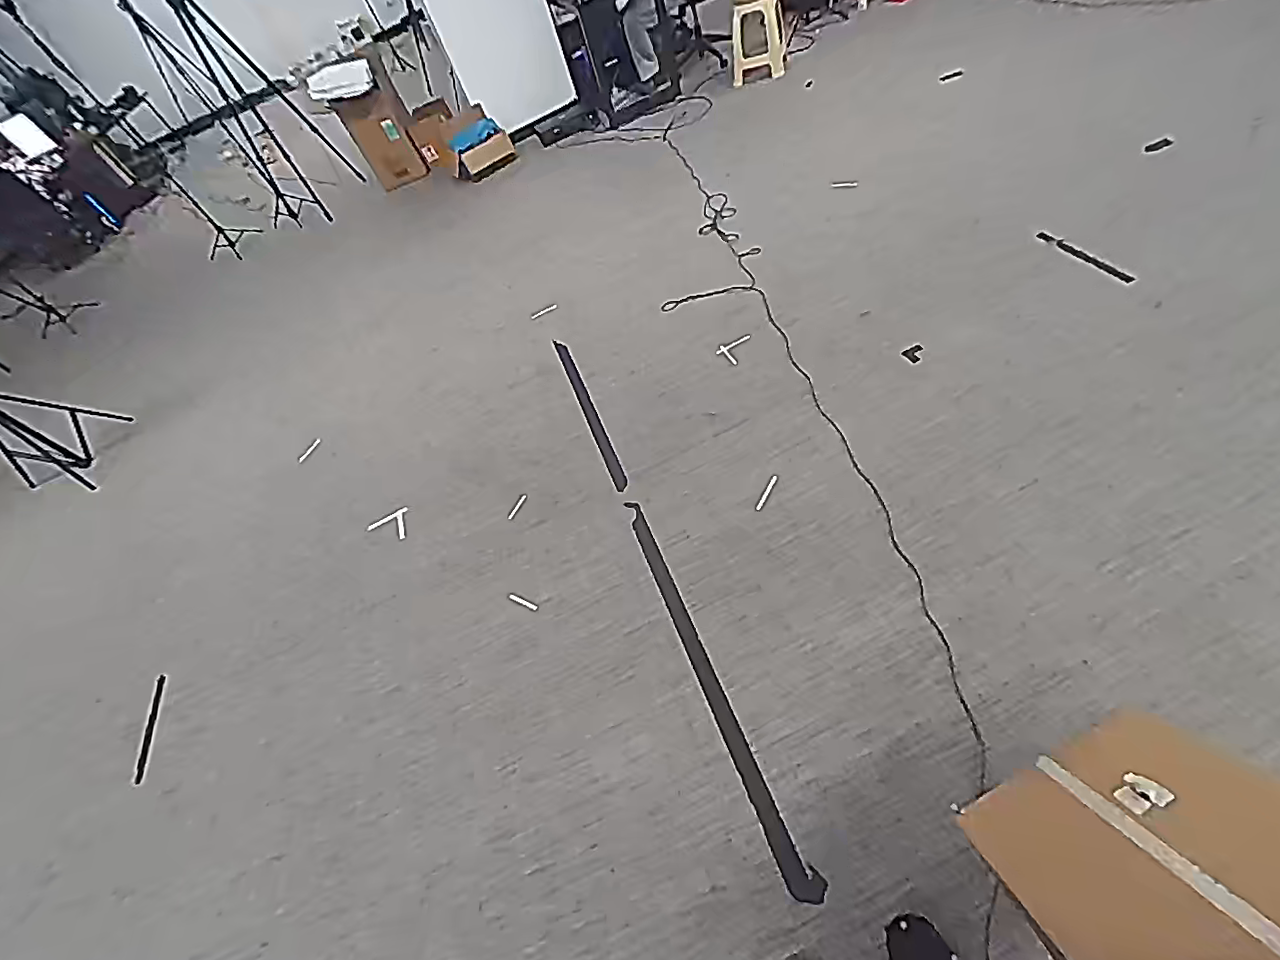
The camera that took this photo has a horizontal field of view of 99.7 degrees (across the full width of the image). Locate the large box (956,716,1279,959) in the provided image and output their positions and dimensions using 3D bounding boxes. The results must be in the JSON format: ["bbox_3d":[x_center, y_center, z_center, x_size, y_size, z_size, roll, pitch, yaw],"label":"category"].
[{"bbox_3d":[0.676,0.555,0.608,0.320,0.408,0.320,-34,87,2],"label":"large box"}]
